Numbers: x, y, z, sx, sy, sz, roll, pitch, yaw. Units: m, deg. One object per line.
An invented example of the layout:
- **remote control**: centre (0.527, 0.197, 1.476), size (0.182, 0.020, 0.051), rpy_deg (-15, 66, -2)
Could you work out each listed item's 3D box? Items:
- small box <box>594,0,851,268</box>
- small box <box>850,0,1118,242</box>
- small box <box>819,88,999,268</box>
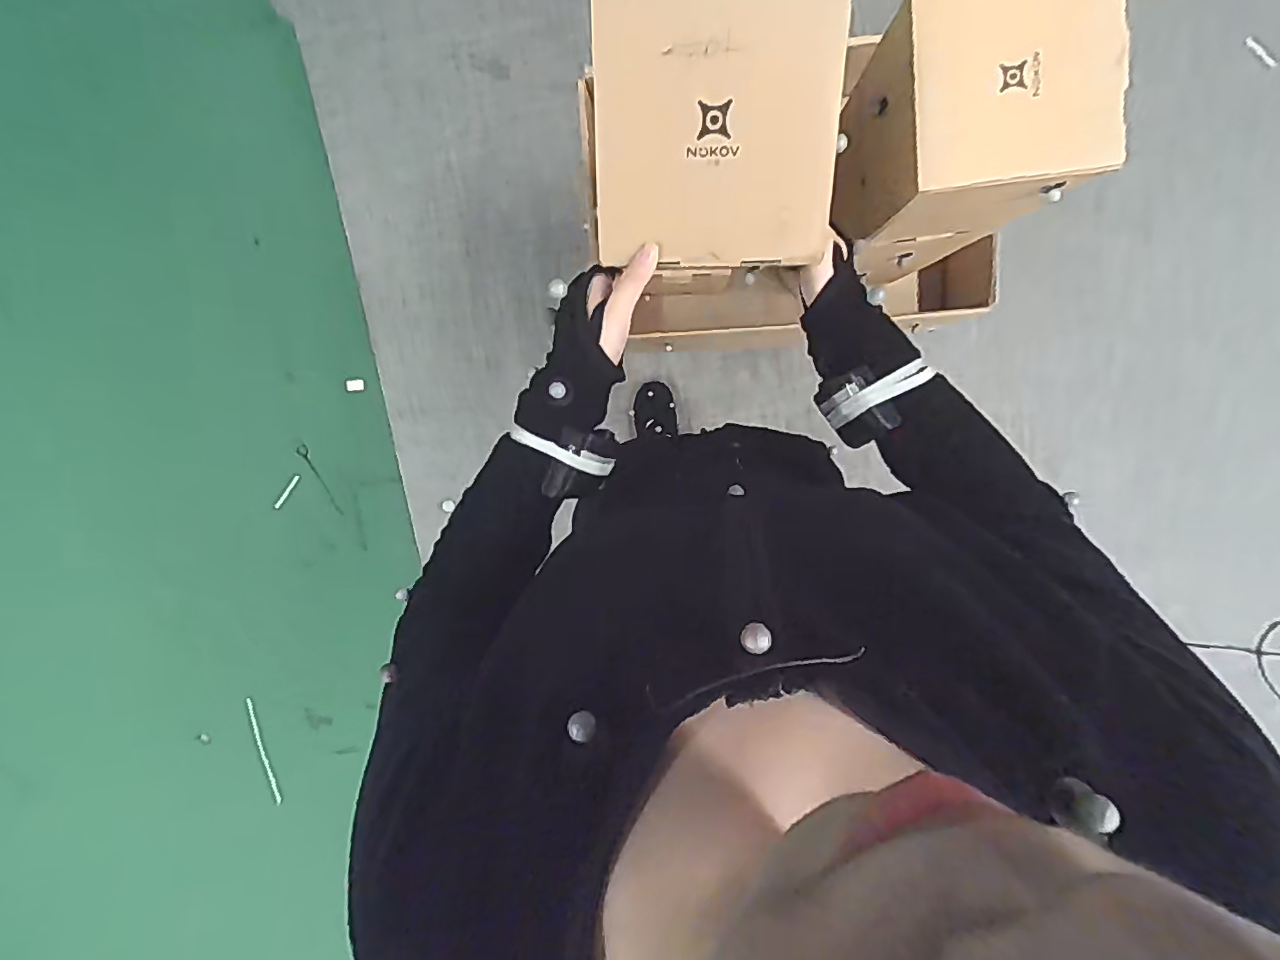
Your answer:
- **small box**: centre (0.058, -0.269, 0.442), size (0.168, 0.176, 0.179), rpy_deg (2, 111, 5)
- **small box**: centre (0.322, -0.352, 0.541), size (0.179, 0.176, 0.168), rpy_deg (-6, 99, 4)
- **small box**: centre (0.334, -0.382, 0.701), size (0.168, 0.176, 0.179), rpy_deg (-6, 100, 3)
